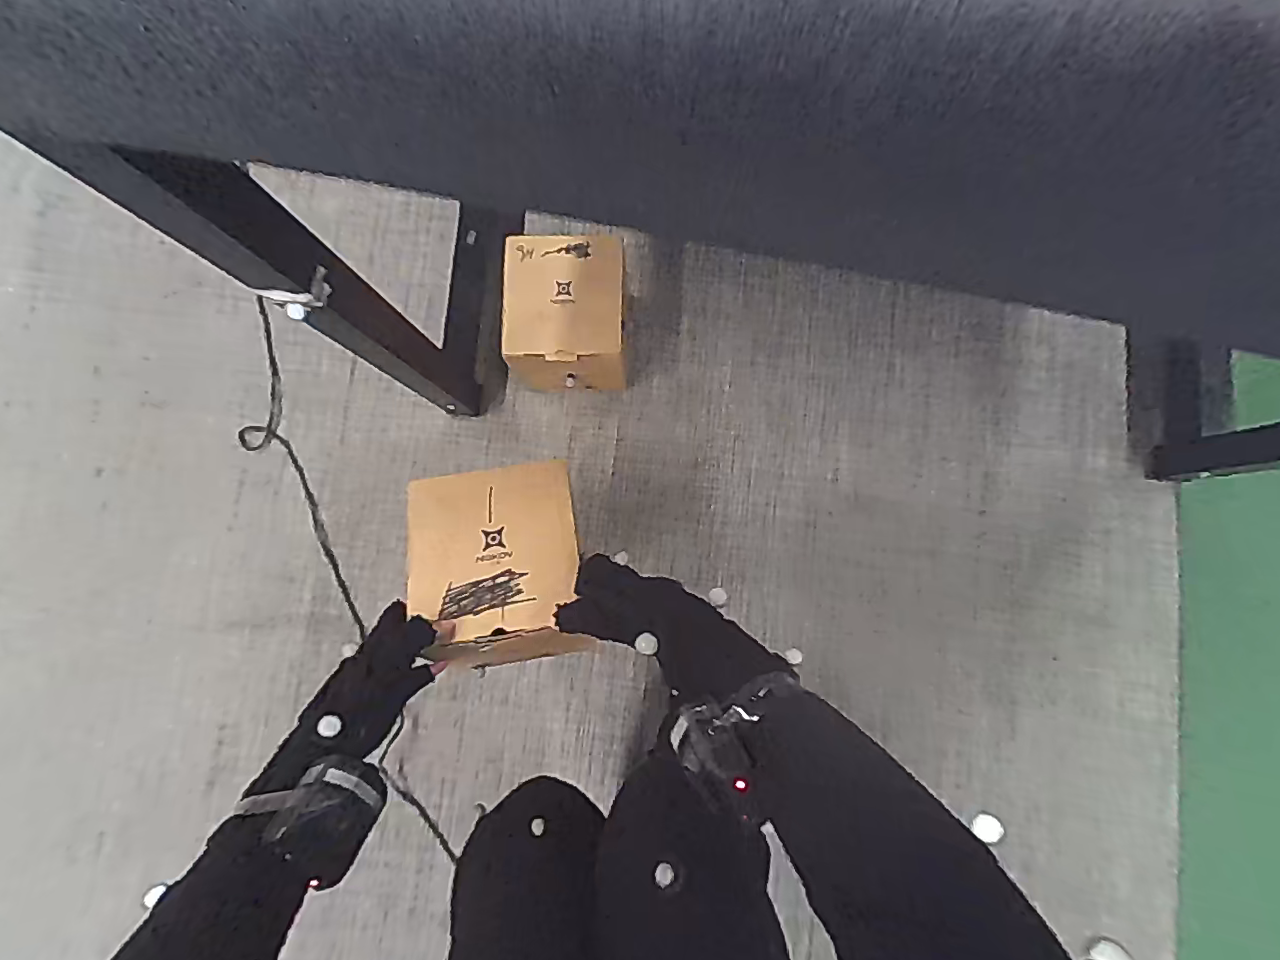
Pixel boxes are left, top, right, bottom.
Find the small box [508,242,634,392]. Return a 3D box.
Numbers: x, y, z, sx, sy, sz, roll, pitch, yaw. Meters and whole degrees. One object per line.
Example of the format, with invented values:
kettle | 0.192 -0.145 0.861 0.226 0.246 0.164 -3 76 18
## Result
small box | -0.095 -0.237 0.826 0.168 0.176 0.179 1 84 1
